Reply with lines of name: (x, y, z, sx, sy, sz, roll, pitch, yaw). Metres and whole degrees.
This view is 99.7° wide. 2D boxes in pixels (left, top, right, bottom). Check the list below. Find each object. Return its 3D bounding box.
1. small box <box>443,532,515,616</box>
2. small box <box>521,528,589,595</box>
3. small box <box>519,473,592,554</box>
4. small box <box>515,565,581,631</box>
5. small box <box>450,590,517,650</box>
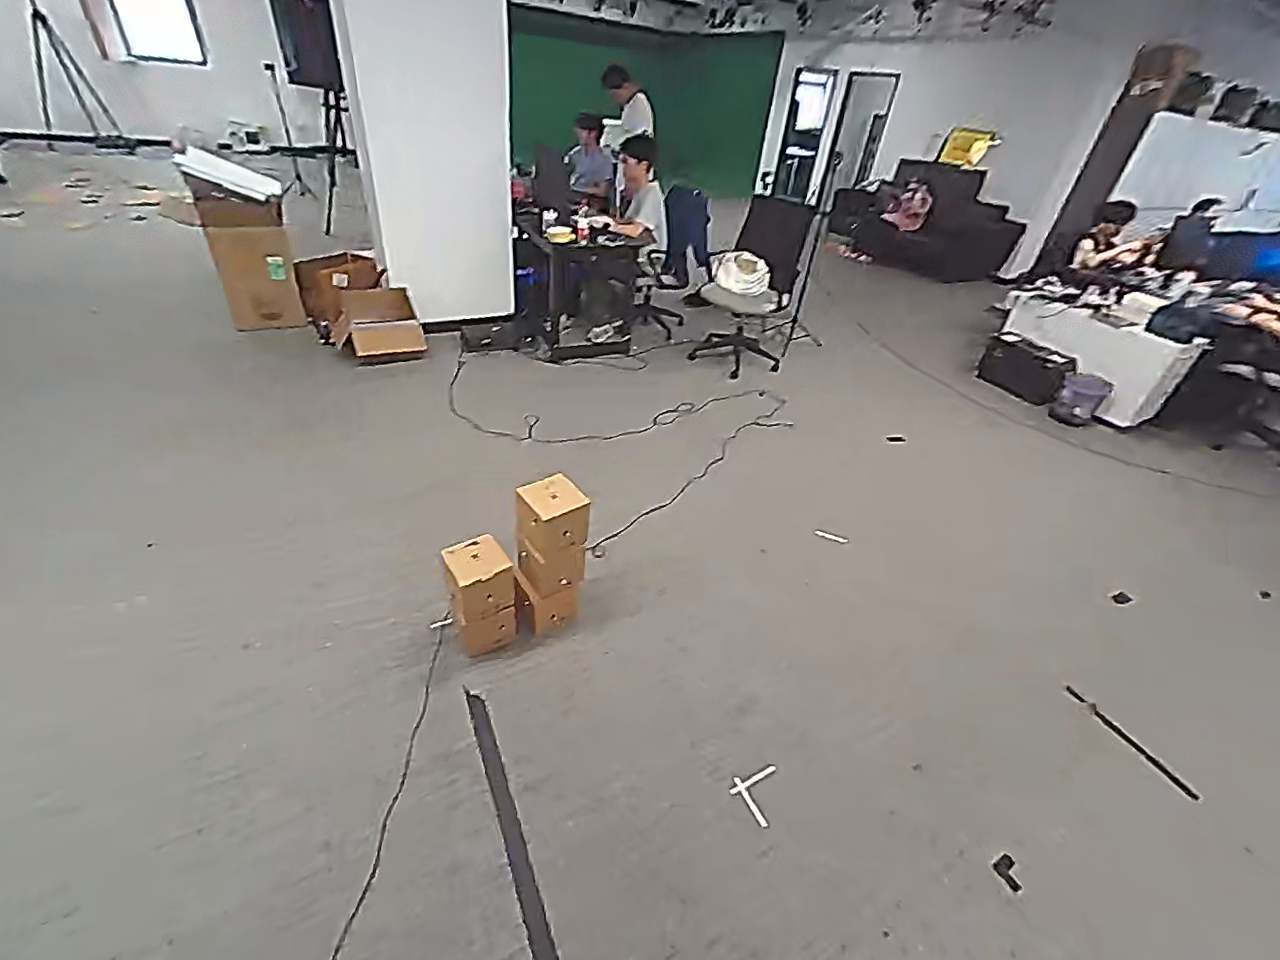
small box: (-0.498, 0.300, 1.691, 0.168, 0.176, 0.179, -18, 44, -32)
small box: (-0.286, 0.248, 1.797, 0.168, 0.176, 0.179, -19, 45, -31)
small box: (-0.266, 0.111, 1.707, 0.168, 0.176, 0.179, -21, 45, -33)
small box: (-0.323, 0.389, 1.878, 0.168, 0.176, 0.179, -20, 44, -32)
small box: (-0.513, 0.435, 1.784, 0.168, 0.176, 0.179, -15, 41, -29)
